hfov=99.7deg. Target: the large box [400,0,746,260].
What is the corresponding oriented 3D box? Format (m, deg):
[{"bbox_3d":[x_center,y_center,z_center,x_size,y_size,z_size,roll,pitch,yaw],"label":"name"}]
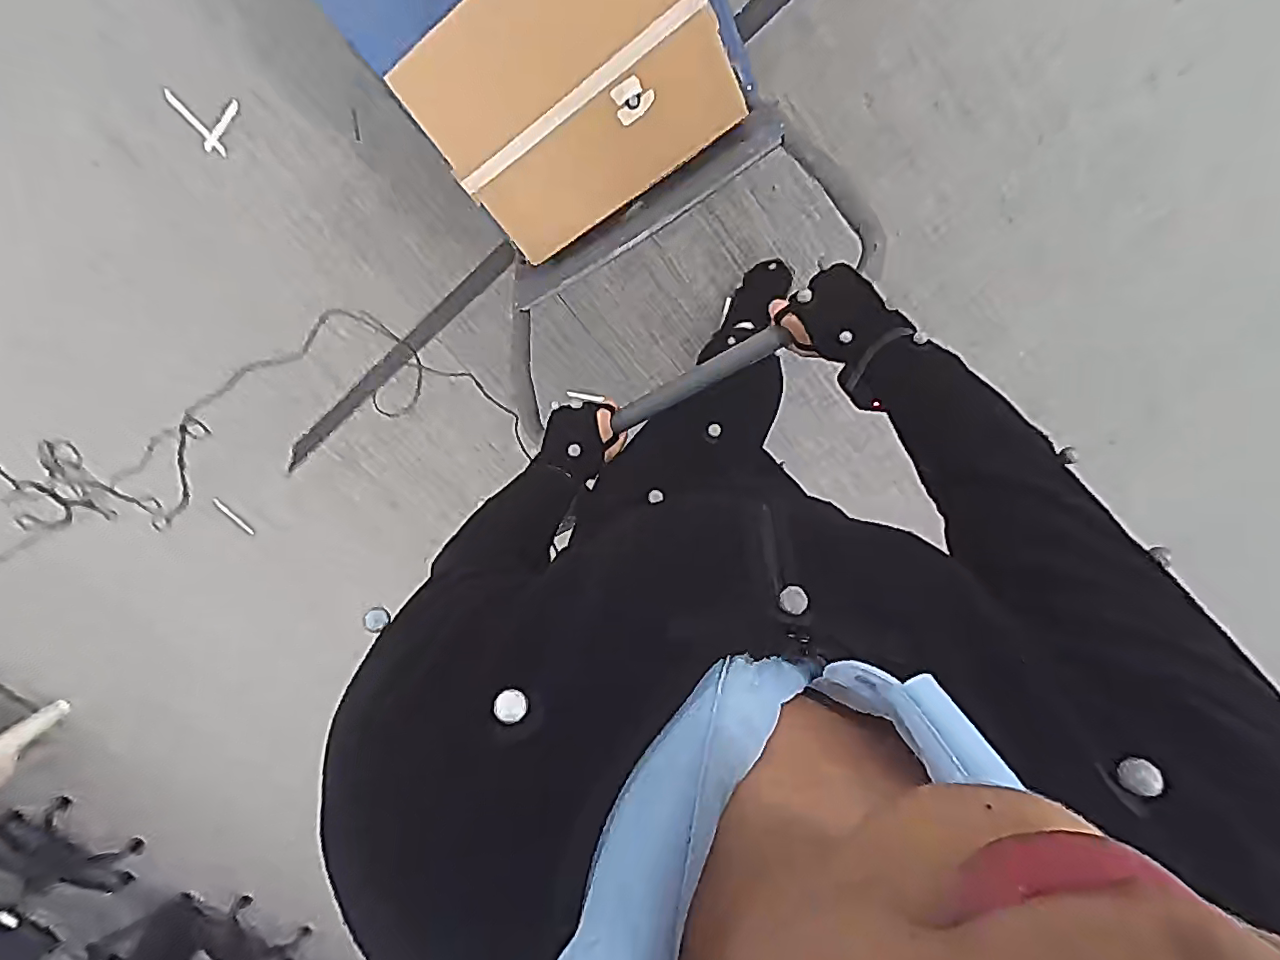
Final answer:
[{"bbox_3d":[-0.104,-0.650,0.872,0.408,0.320,0.320,-29,132,18],"label":"large box"}]
